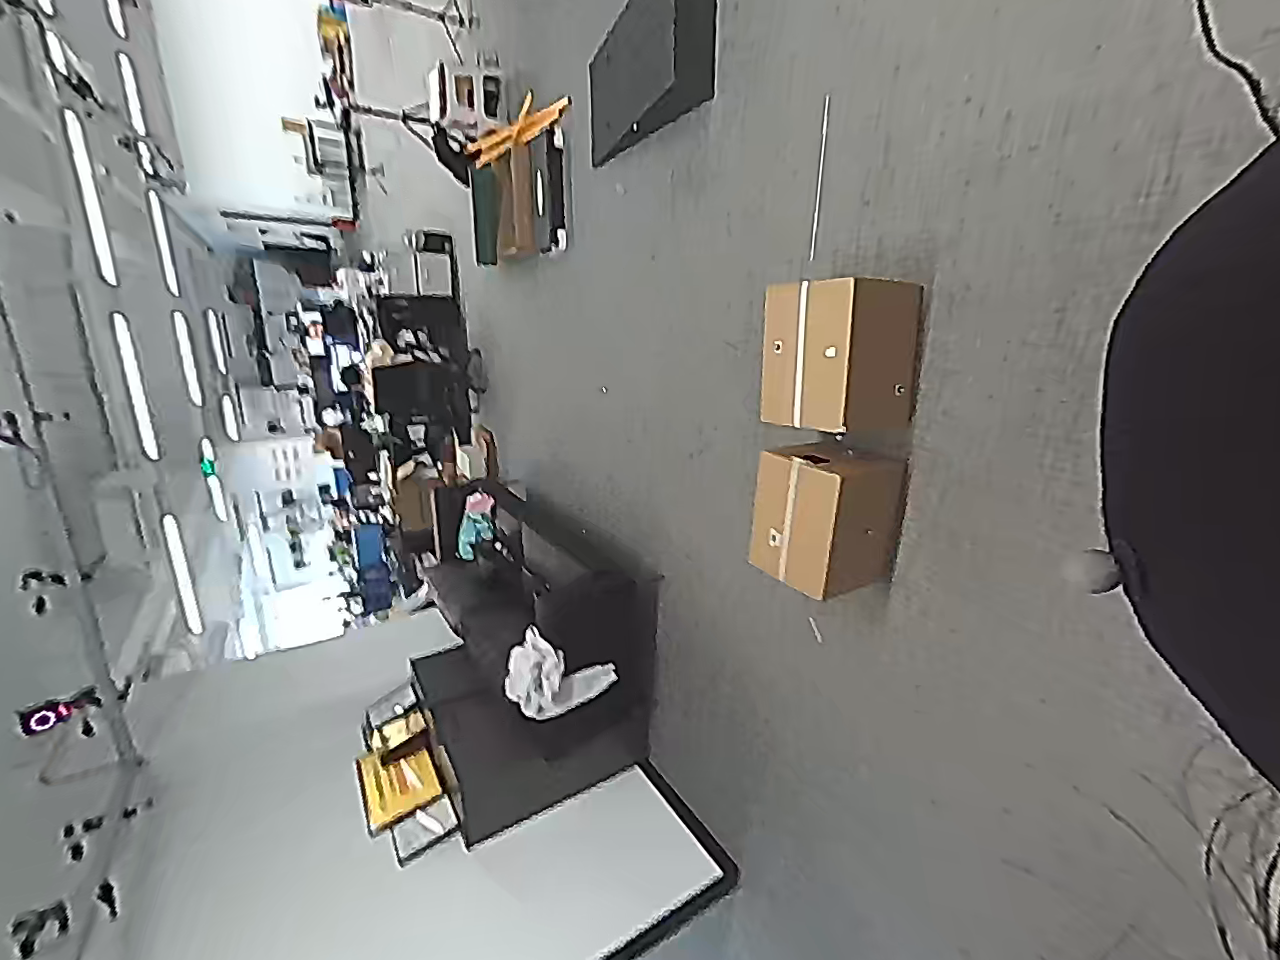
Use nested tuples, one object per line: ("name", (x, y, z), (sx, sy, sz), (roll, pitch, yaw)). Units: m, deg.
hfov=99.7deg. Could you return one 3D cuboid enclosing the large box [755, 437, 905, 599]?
("large box", (0.599, 0.100, 1.734), (0.320, 0.320, 0.408), (28, 123, 53))
